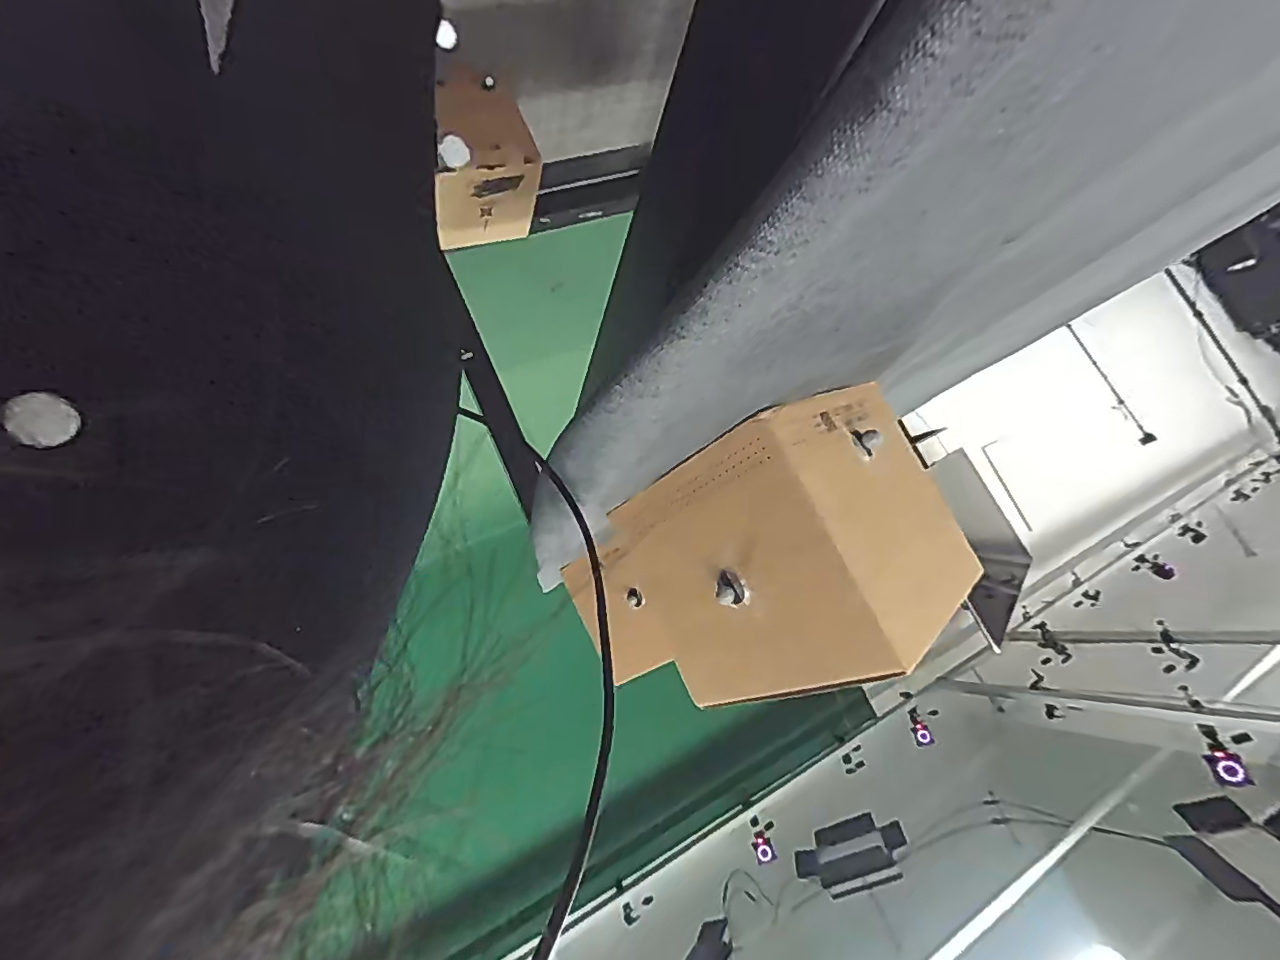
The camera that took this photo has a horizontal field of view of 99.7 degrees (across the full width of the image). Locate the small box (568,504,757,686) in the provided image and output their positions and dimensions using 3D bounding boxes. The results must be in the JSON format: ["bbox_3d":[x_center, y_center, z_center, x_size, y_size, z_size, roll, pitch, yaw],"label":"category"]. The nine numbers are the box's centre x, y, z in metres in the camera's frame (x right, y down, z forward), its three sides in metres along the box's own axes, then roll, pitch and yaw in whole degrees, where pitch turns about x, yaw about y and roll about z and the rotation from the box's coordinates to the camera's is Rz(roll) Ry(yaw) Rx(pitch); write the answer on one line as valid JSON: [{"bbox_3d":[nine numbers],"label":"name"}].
[{"bbox_3d":[0.031,0.146,0.741,0.168,0.176,0.179,-32,169,24],"label":"small box"}]

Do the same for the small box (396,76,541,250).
[{"bbox_3d":[-0.277,-0.506,0.865,0.168,0.176,0.179,-21,171,-24],"label":"small box"}]
